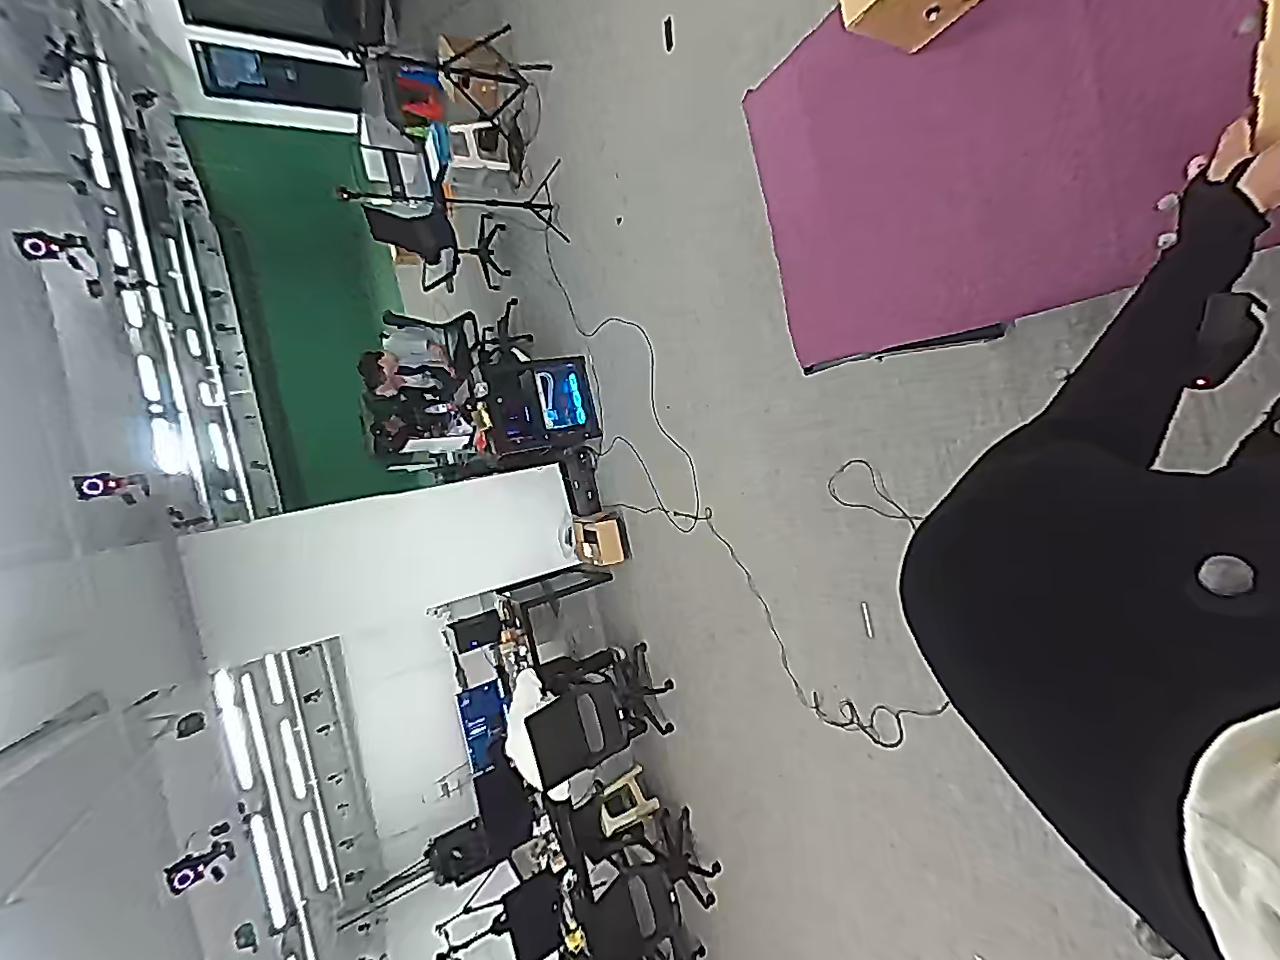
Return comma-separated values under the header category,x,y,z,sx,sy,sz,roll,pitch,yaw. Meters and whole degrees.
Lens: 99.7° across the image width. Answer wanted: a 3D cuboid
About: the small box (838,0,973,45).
category,x,y,z,sx,sy,sz,roll,pitch,yaw
small box,0.391,-0.769,0.761,0.168,0.176,0.179,-6,96,60
